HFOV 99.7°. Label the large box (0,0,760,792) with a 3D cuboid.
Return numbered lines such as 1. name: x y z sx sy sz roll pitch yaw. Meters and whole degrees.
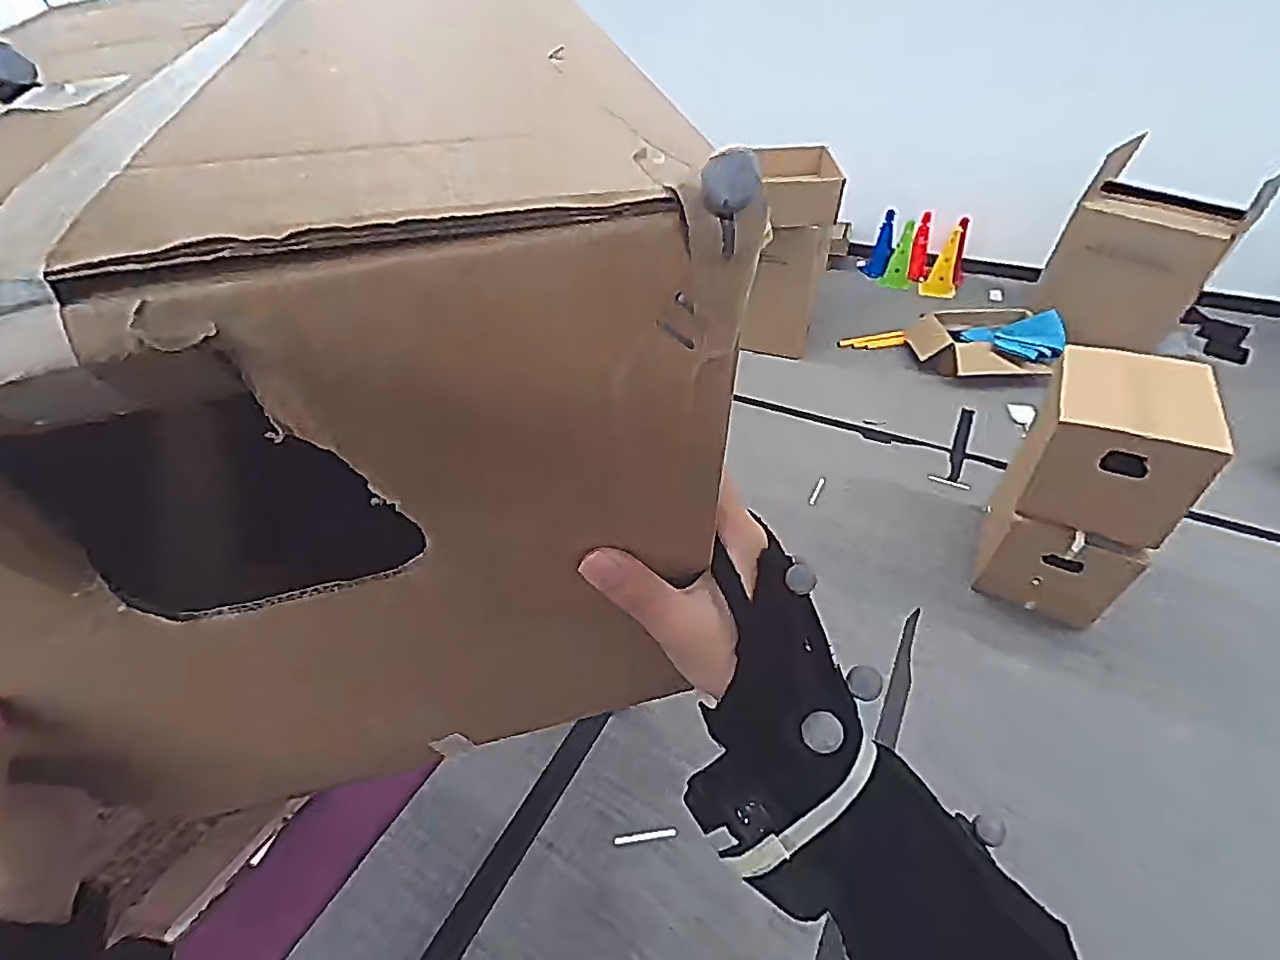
1. large box: -0.162 -0.081 0.357 0.320 0.320 0.408 -14 51 -7
